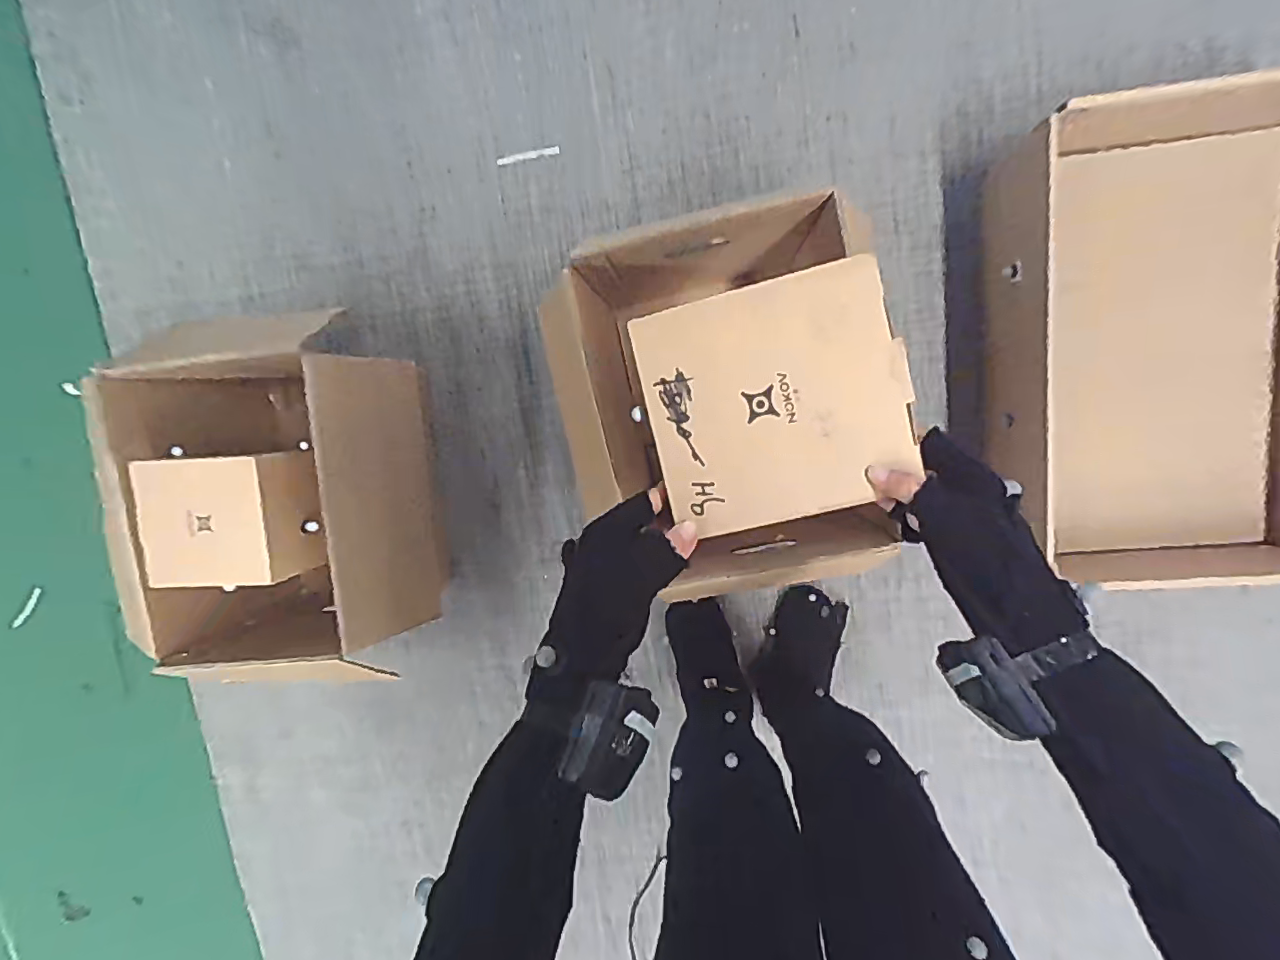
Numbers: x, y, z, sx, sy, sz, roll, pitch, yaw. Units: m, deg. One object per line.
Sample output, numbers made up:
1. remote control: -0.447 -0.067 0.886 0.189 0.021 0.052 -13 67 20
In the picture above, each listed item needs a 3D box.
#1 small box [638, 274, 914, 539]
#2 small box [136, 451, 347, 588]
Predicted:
1. small box: 0.106 -0.056 0.476 0.179 0.176 0.168 -13 91 8
2. small box: -0.540 0.048 0.763 0.179 0.176 0.168 -2 96 6
